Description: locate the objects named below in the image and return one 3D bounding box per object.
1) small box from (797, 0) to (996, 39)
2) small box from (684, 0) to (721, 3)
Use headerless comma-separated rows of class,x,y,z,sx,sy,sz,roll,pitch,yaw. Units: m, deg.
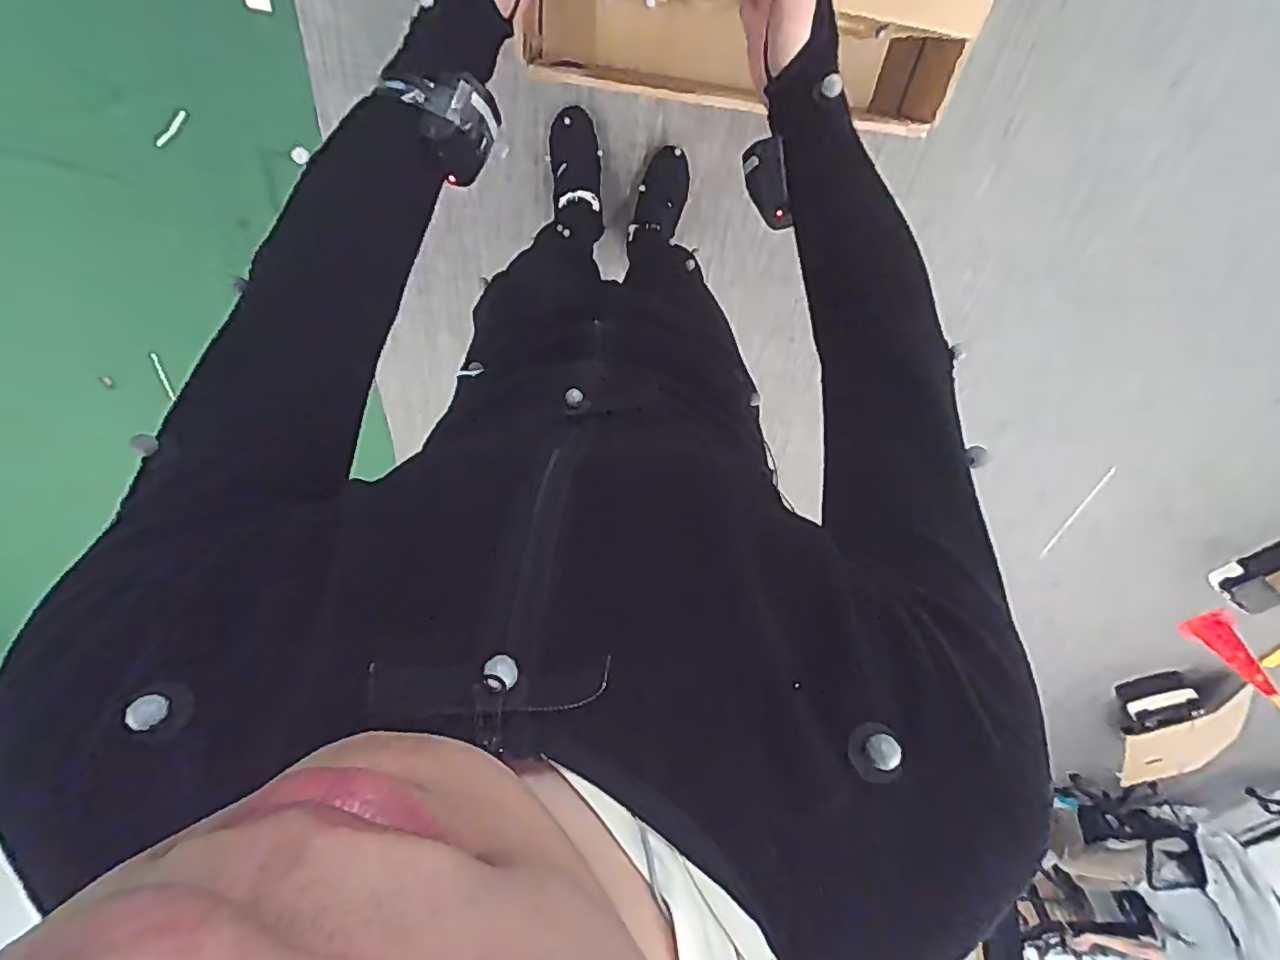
small box,0.288,-0.593,0.577,0.179,0.176,0.168,6,131,-7
small box,0.028,-0.615,0.548,0.168,0.176,0.179,5,129,-6
